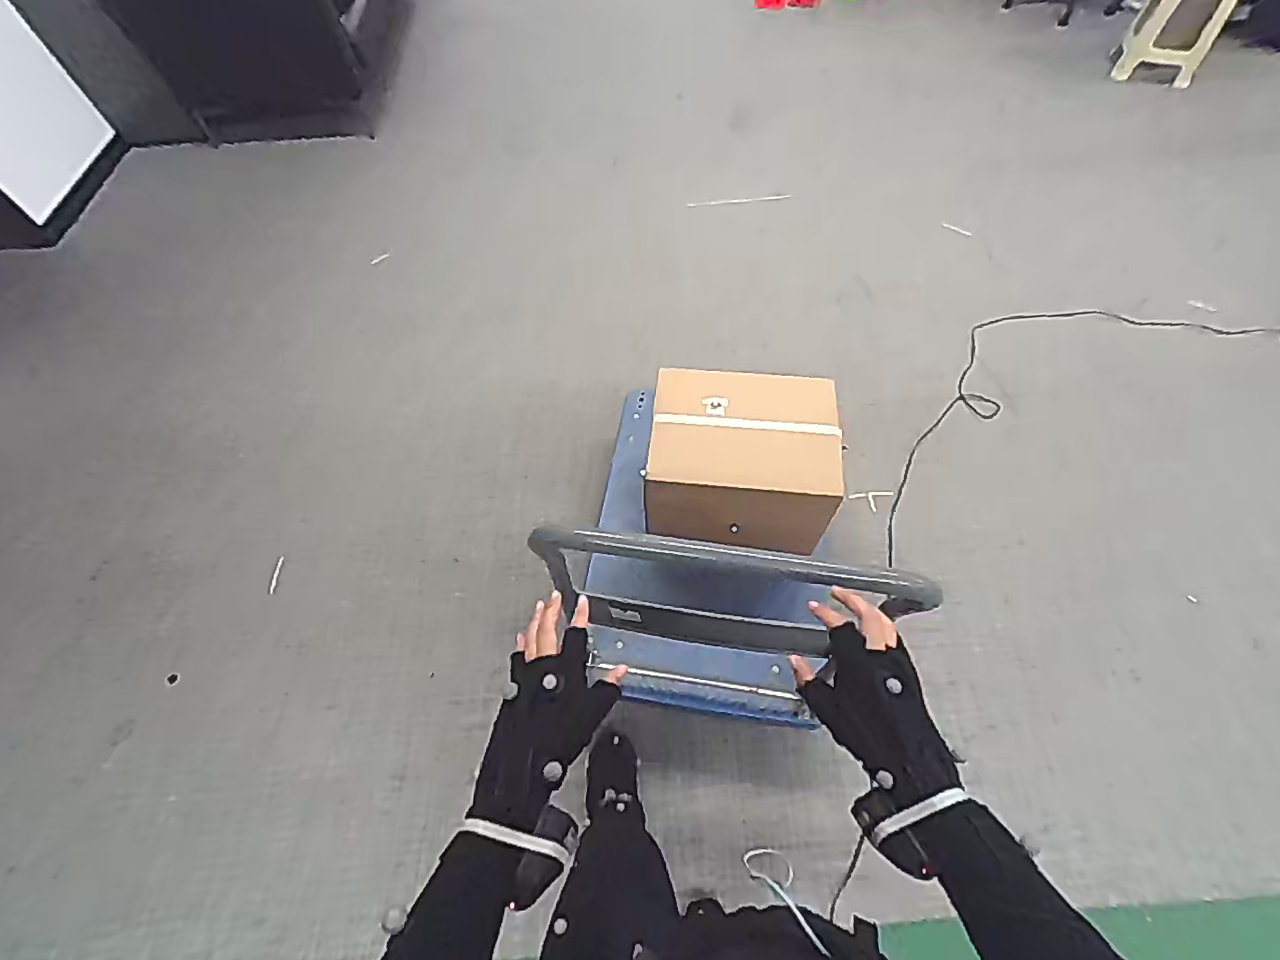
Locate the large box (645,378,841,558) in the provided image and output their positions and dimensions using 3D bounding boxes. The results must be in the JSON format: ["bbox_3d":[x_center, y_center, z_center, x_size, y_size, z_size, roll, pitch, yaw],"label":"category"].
[{"bbox_3d":[0.234,-0.022,1.304,0.408,0.320,0.320,4,58,7],"label":"large box"}]
